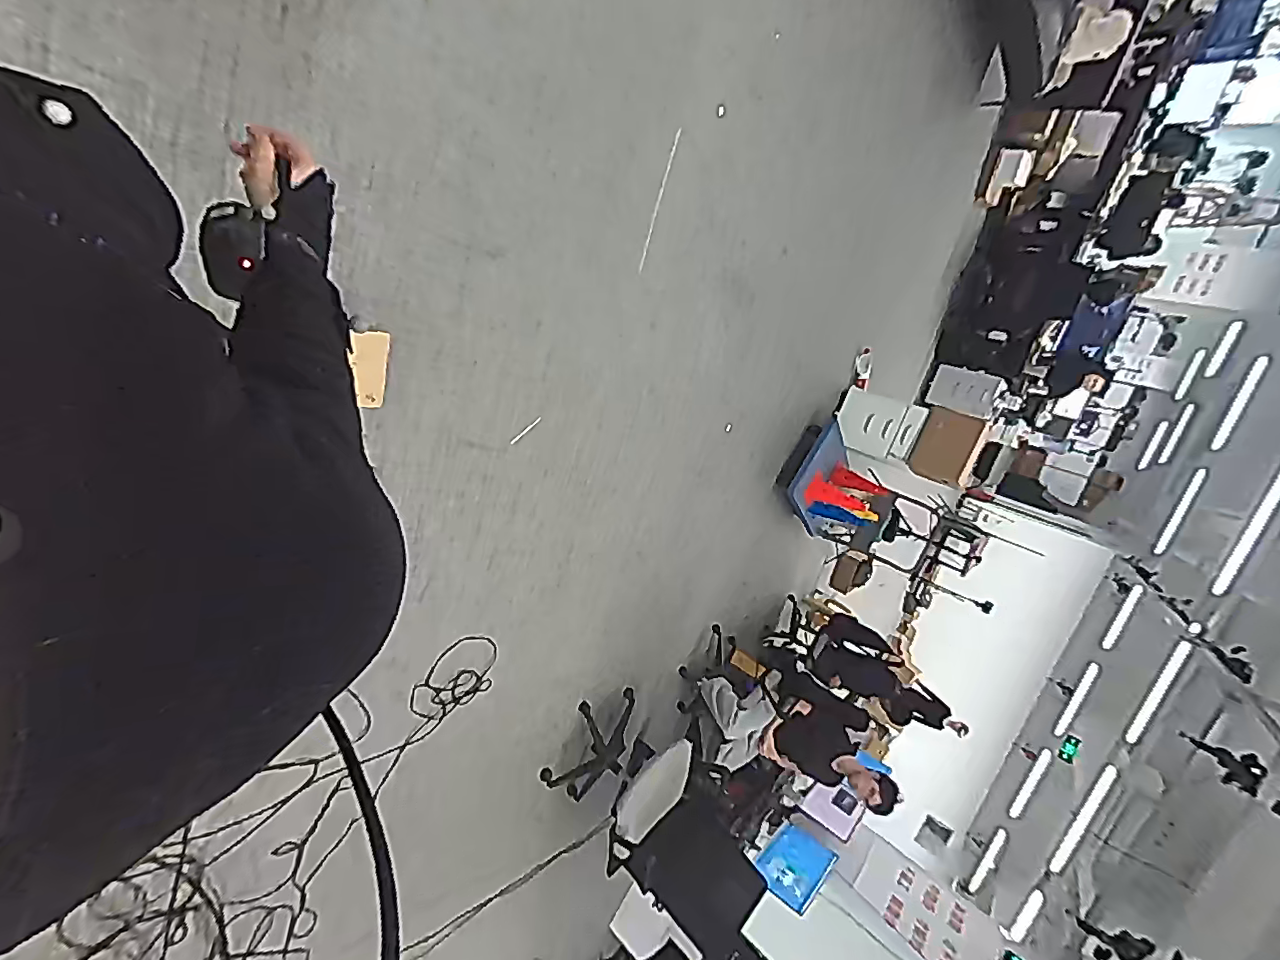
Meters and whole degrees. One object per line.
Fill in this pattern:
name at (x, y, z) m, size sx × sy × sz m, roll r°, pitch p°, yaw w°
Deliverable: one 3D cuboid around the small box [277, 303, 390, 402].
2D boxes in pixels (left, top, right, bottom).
small box at (-0.684, -0.283, 1.204) m, size 0.168 × 0.176 × 0.179 m, roll -5°, pitch 115°, yaw -51°
